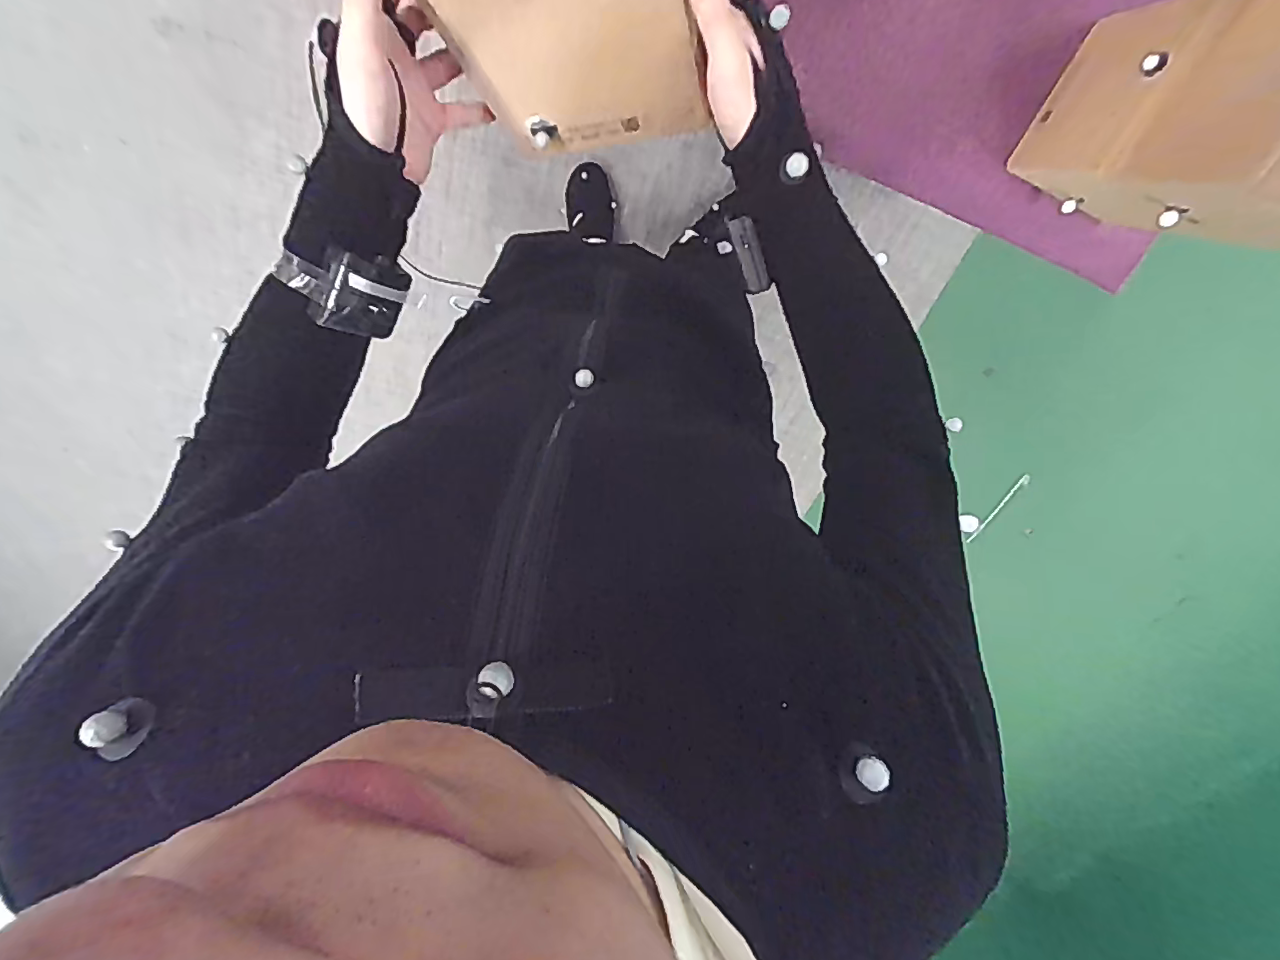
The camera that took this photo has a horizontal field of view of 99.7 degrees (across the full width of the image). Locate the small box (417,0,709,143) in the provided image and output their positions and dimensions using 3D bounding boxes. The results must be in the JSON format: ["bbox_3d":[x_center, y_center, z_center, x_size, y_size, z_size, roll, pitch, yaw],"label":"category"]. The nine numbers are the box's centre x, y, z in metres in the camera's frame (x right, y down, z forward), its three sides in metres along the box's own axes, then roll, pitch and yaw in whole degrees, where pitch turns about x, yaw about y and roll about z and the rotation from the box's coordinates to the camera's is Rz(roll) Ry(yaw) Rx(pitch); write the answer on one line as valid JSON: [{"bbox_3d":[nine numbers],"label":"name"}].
[{"bbox_3d":[-0.042,-0.378,0.391,0.168,0.176,0.179,0,82,15],"label":"small box"}]

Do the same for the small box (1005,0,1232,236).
[{"bbox_3d":[0.580,-0.405,0.616,0.179,0.176,0.168,18,120,-12],"label":"small box"}]
